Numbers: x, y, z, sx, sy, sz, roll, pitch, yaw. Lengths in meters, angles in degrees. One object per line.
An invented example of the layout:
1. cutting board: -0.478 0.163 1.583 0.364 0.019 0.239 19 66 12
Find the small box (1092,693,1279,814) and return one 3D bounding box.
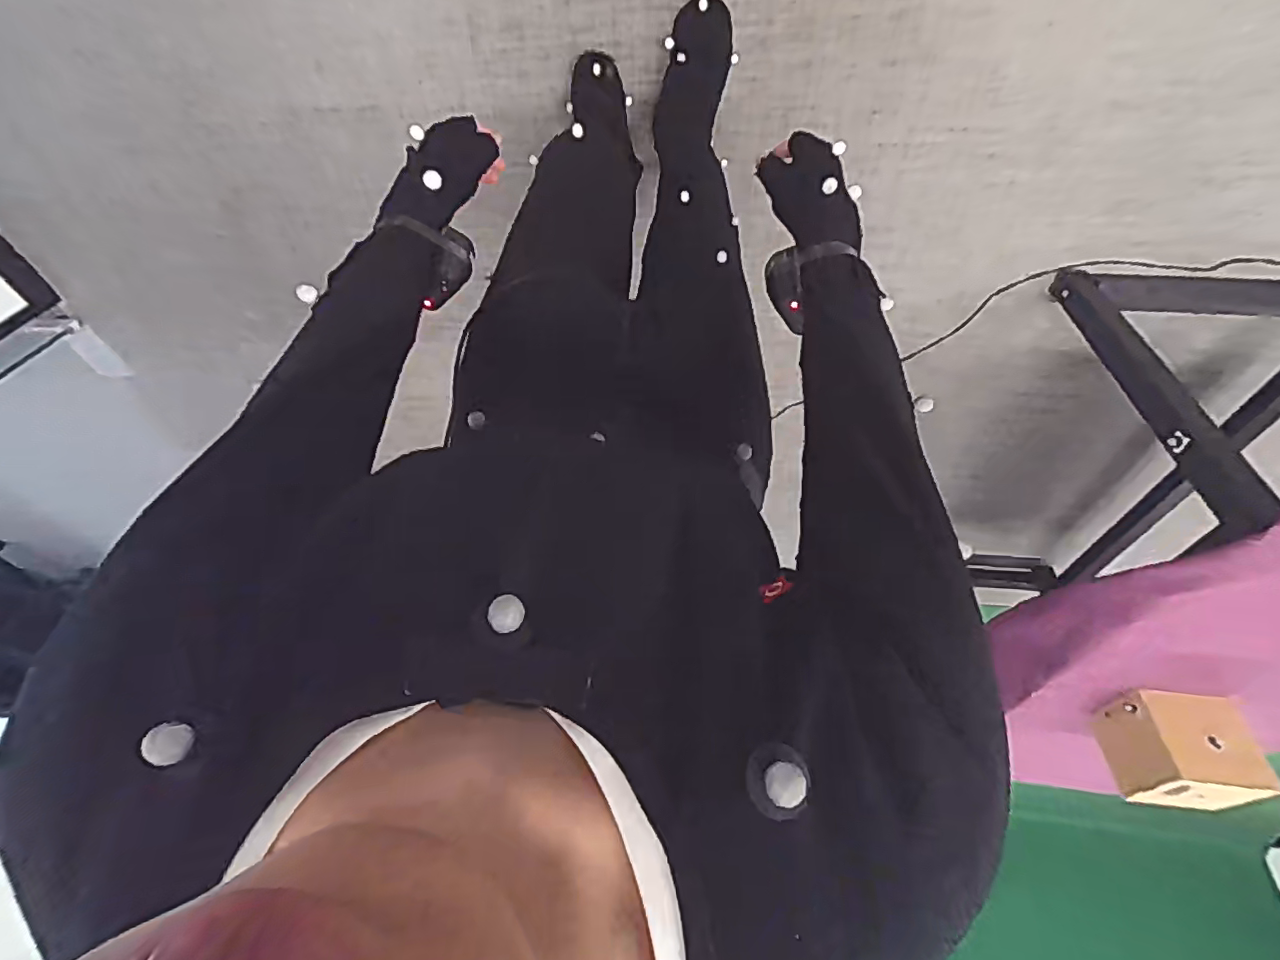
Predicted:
1. small box: 1.059 0.538 1.071 0.179 0.176 0.168 4 138 4
